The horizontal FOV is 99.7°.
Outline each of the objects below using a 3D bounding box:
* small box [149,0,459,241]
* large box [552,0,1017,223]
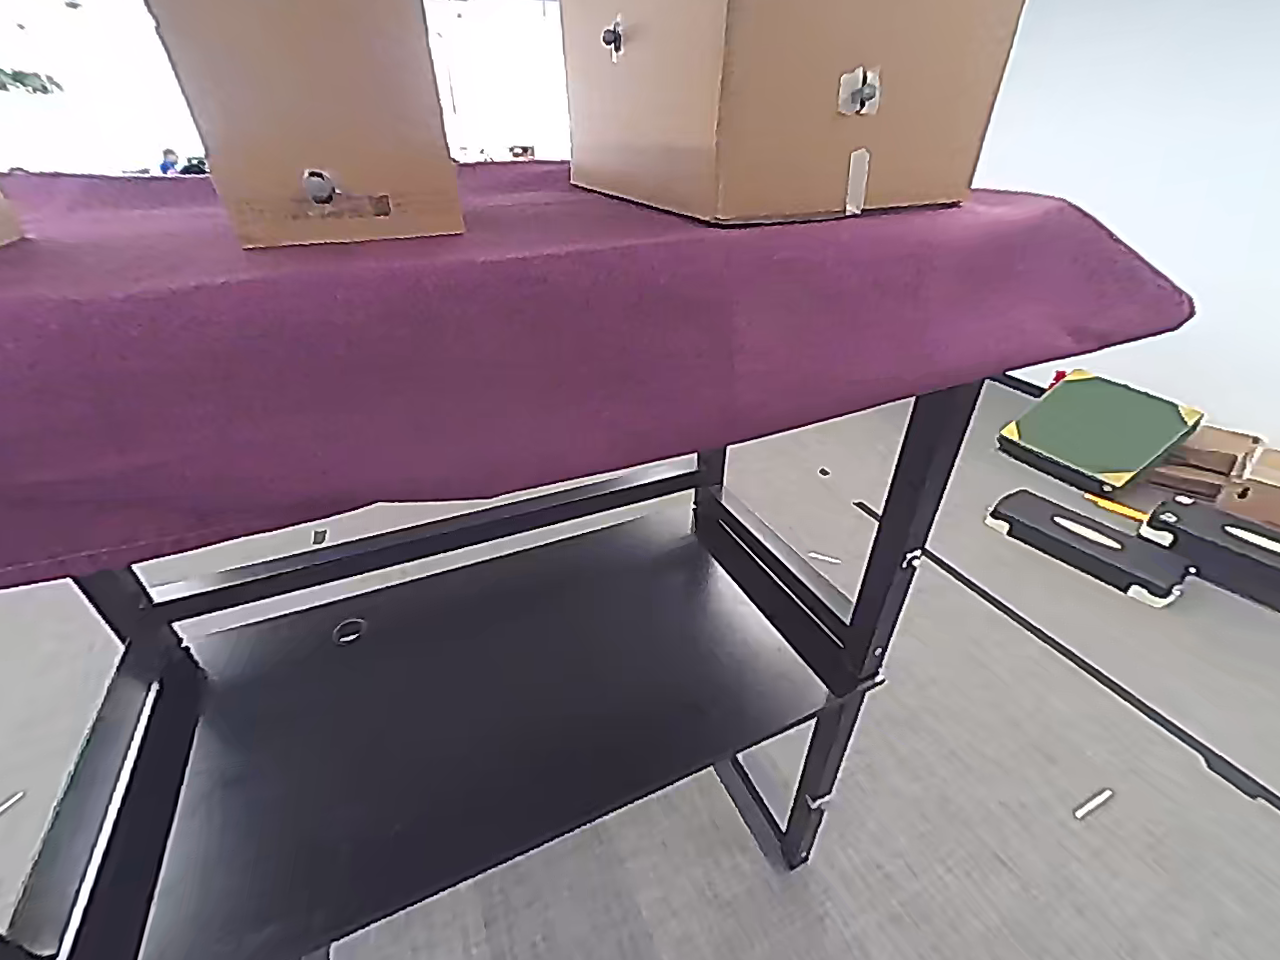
[{"bbox_3d":[-0.257,-0.300,0.445,0.168,0.176,0.179,-14,36,-19],"label":"small box"},{"bbox_3d":[0.115,-0.472,0.575,0.320,0.320,0.408,-14,35,-20],"label":"large box"}]
